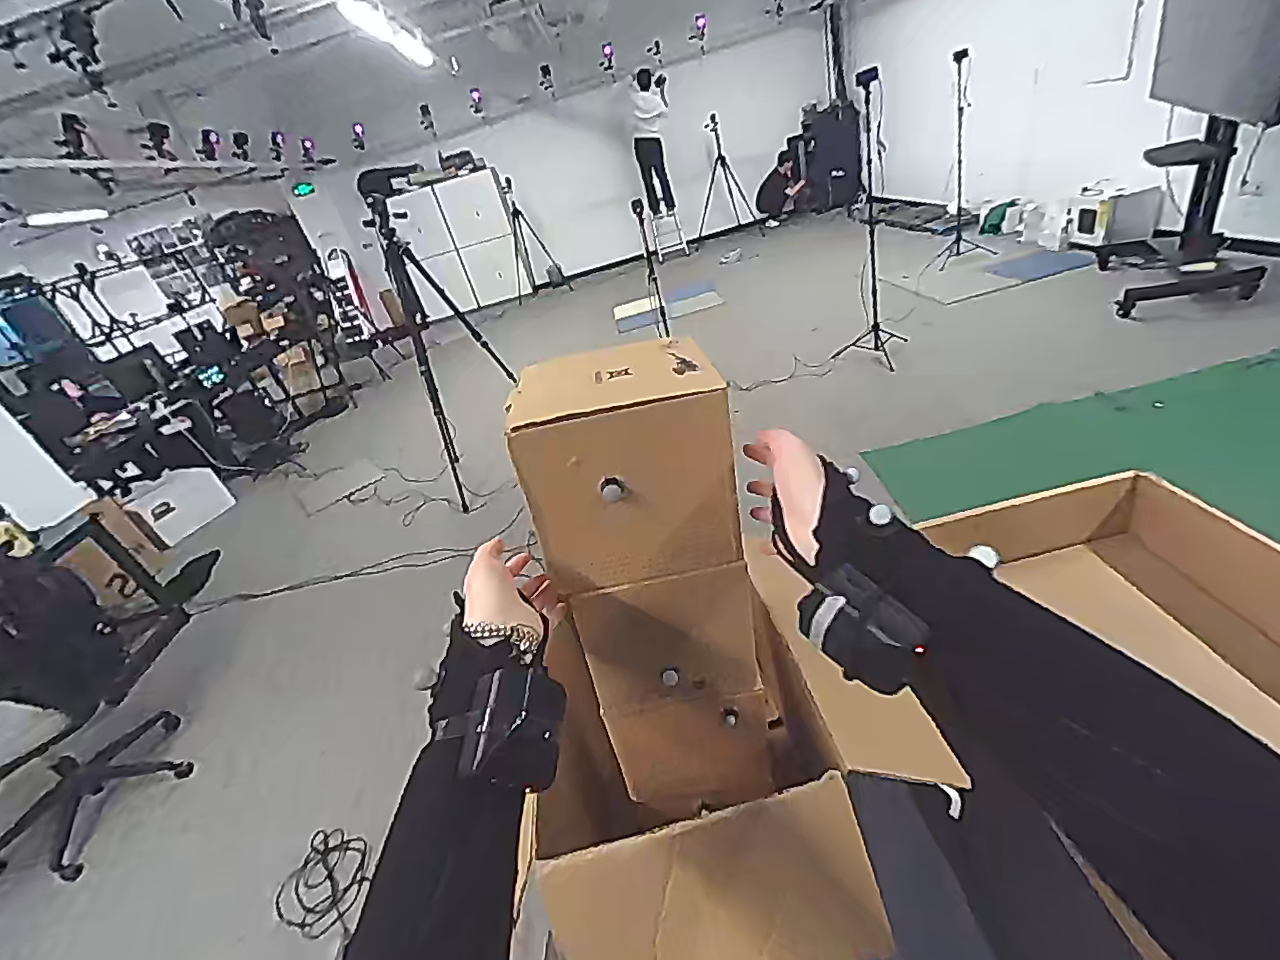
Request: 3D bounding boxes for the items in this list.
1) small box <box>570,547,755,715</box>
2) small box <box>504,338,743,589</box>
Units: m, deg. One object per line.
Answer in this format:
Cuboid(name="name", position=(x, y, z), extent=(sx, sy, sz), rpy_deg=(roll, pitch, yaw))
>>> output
Cuboid(name="small box", position=(0.023, 0.122, 0.596), extent=(0.168, 0.176, 0.179), rpy_deg=(-11, 30, 0))
Cuboid(name="small box", position=(-0.011, -0.018, 0.516), extent=(0.179, 0.176, 0.168), rpy_deg=(-12, 29, 0))
